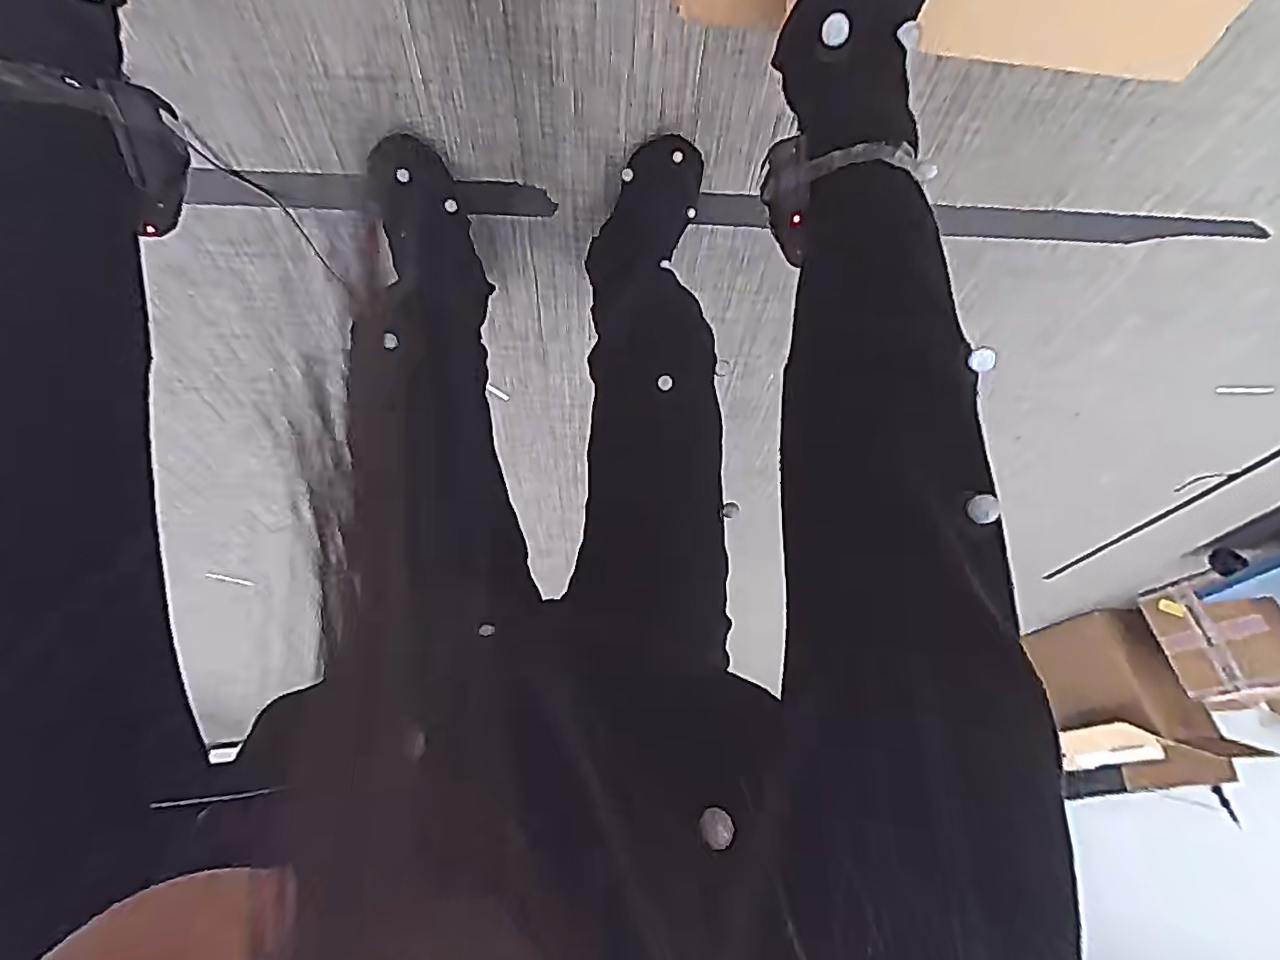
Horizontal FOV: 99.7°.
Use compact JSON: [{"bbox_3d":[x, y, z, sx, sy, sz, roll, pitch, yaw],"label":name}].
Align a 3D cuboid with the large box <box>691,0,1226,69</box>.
[{"bbox_3d":[0.234,-0.535,0.362,0.408,0.320,0.320,0,148,-9],"label":"large box"}]
